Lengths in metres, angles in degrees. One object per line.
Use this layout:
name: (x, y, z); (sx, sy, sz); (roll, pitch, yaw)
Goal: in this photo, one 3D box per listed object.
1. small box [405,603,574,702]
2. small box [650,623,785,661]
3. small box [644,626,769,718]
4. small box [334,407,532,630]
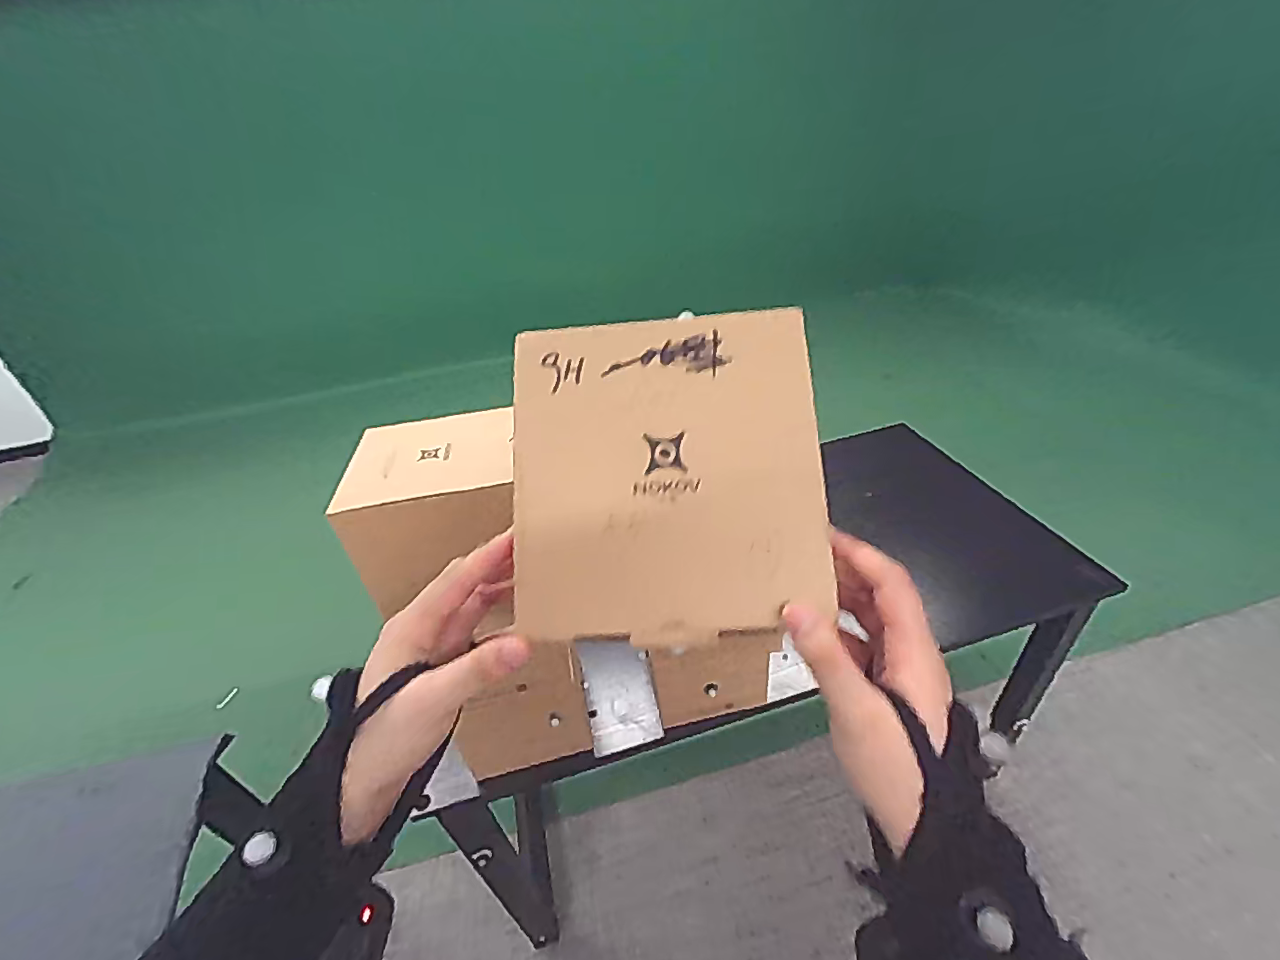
small box: (-0.185, 0.166, 0.708); (0.168, 0.176, 0.179); (-11, 35, -6)
small box: (0.096, 0.120, 0.724); (0.179, 0.176, 0.168); (-6, 37, 1)
small box: (0.095, 0.242, 0.834); (0.168, 0.176, 0.179); (-11, 36, -5)
small box: (-0.199, 0.041, 0.606); (0.179, 0.176, 0.168); (-11, 35, -6)
